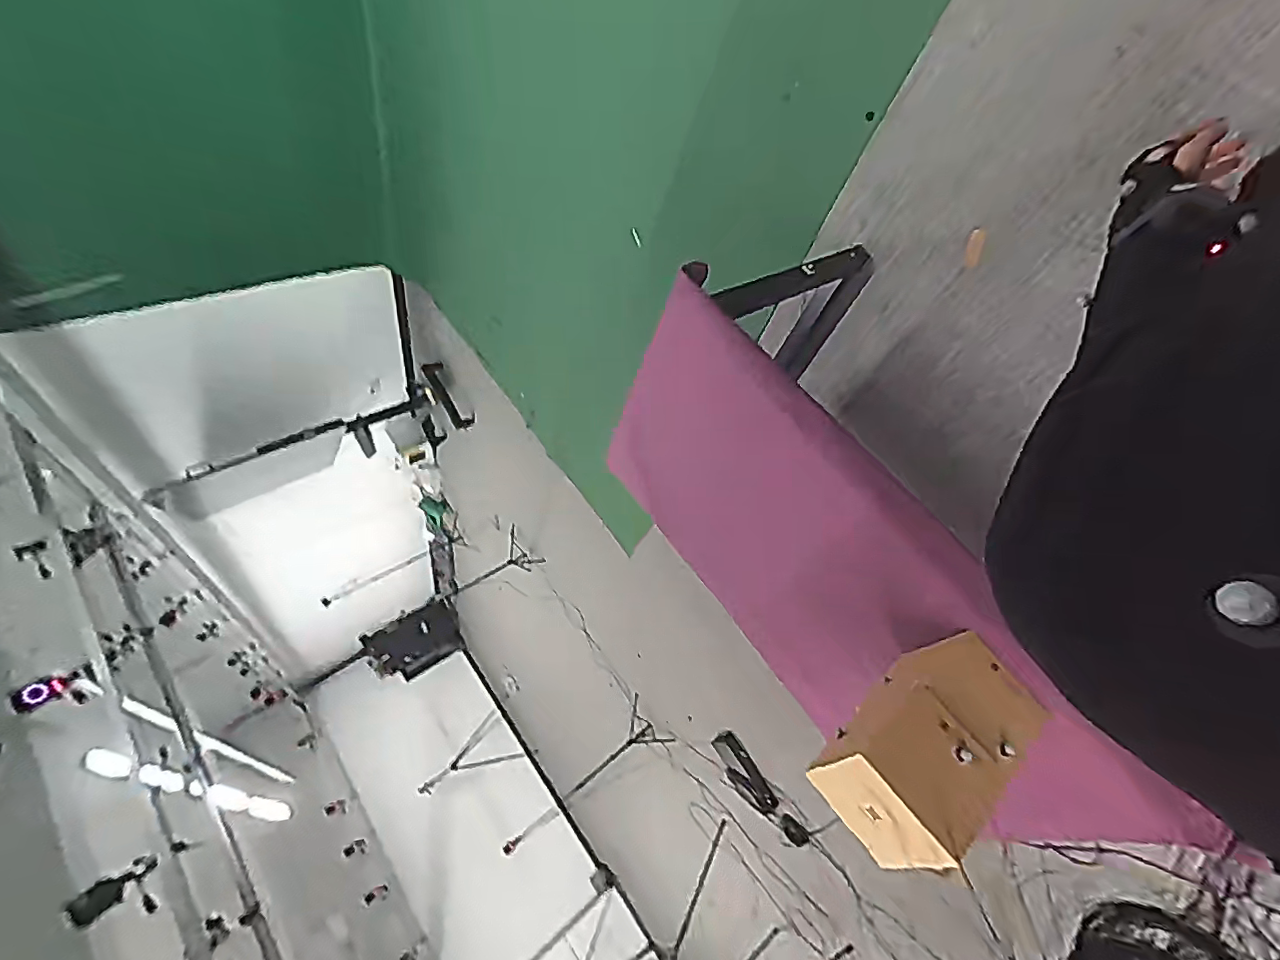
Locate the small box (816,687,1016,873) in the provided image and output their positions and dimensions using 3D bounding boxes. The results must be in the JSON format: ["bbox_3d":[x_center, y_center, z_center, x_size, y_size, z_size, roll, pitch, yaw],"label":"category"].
[{"bbox_3d":[0.406,0.442,0.804,0.168,0.176,0.179,48,147,21],"label":"small box"}]
